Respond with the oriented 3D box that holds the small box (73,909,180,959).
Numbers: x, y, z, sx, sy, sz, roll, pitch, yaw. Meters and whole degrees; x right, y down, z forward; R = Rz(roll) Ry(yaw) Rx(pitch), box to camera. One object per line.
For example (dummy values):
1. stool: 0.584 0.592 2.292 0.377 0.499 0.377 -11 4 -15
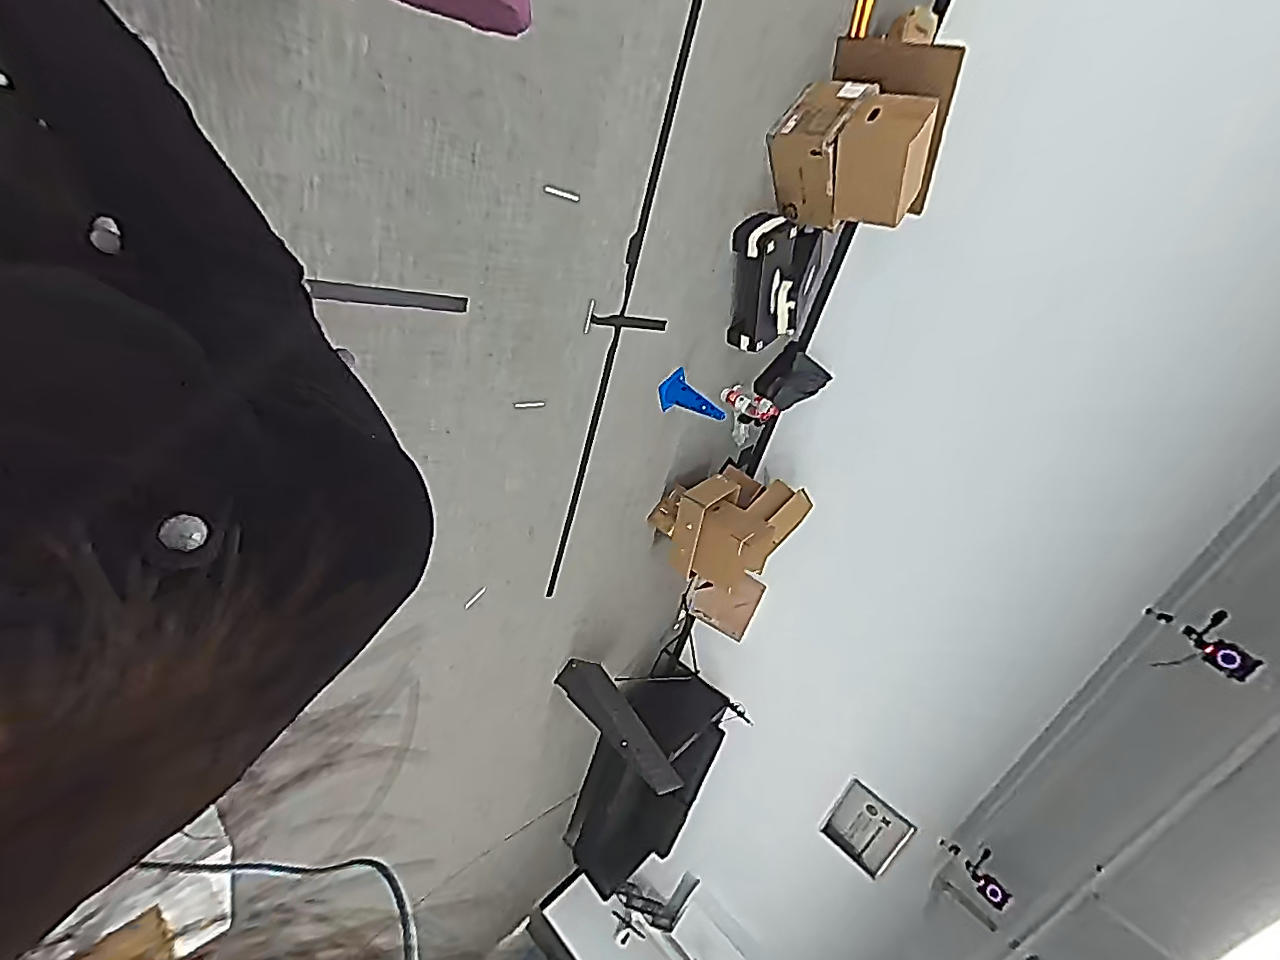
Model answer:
1. small box: -1.203 1.173 1.269 0.179 0.176 0.168 -19 133 -45
